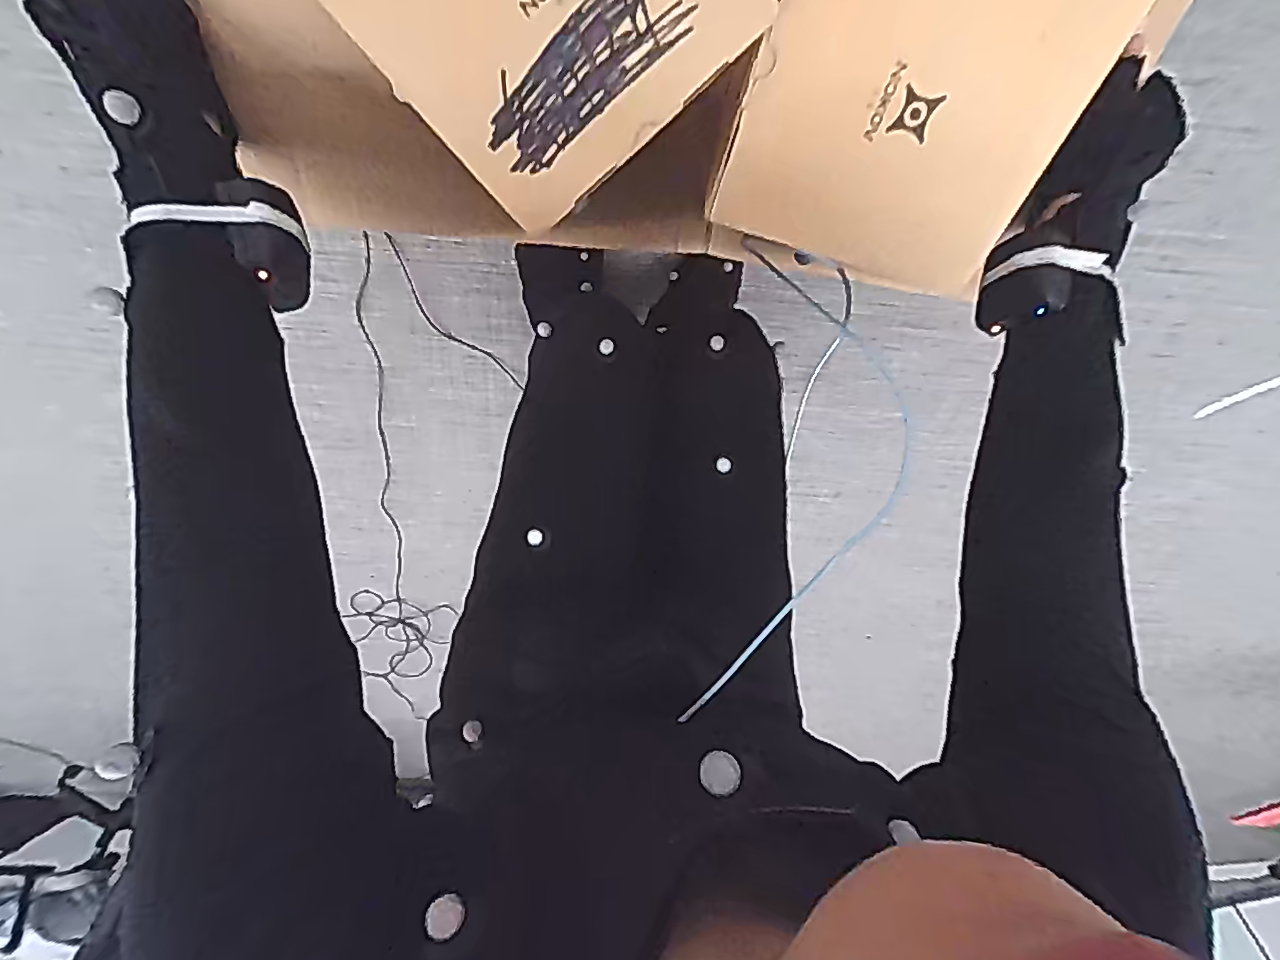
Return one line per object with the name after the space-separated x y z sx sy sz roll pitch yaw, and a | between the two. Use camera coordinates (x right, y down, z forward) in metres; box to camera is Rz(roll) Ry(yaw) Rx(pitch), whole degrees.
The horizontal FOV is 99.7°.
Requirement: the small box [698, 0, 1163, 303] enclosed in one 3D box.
0.147 -0.245 0.348 0.179 0.176 0.168 16 130 -5 | small box
